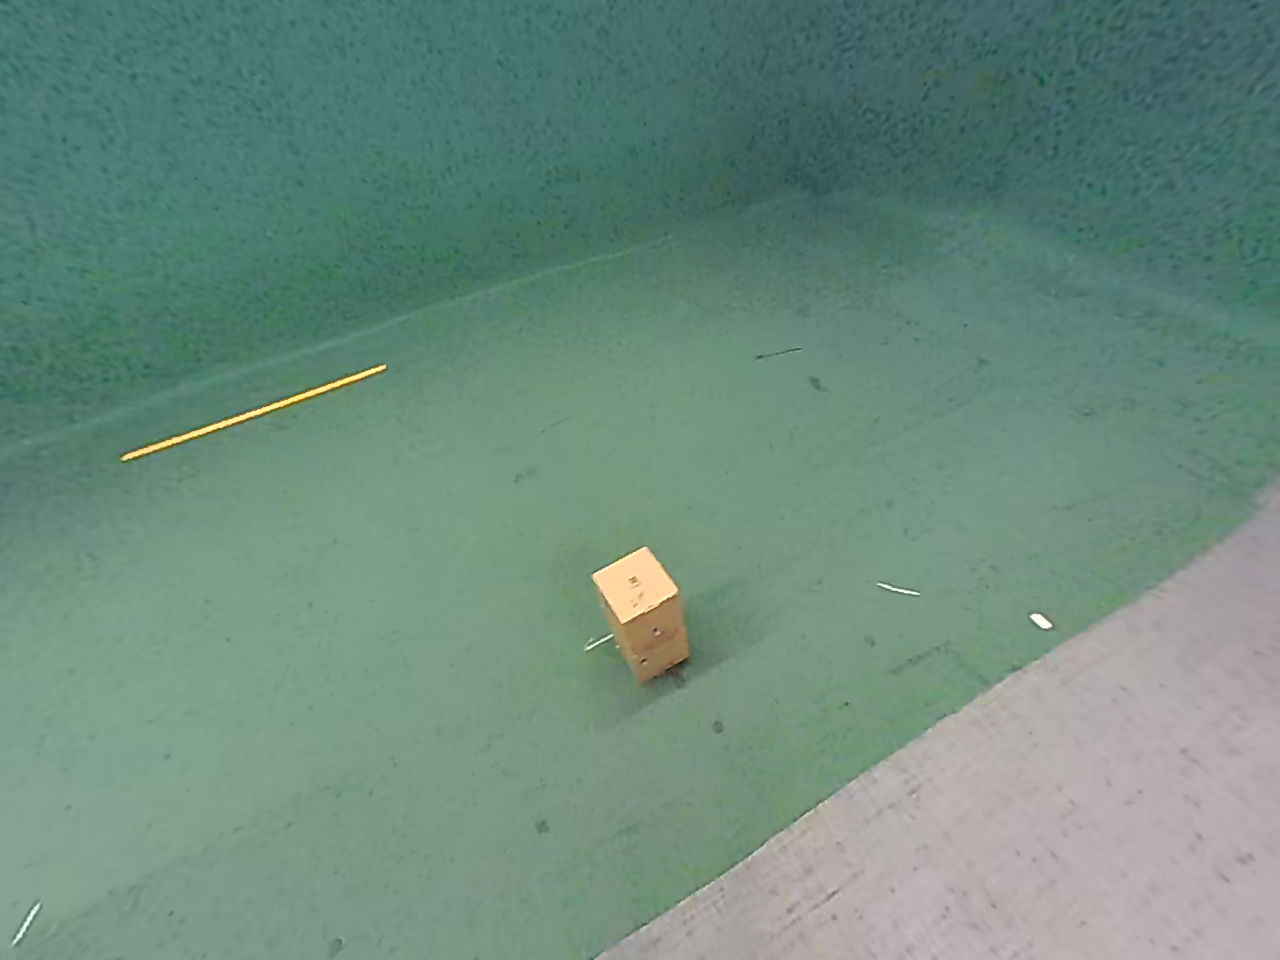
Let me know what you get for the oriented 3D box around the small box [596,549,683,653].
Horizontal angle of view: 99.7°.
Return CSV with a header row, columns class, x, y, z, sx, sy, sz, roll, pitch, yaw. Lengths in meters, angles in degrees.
class,x,y,z,sx,sy,sz,roll,pitch,yaw
small box,0.001,0.324,1.443,0.168,0.176,0.179,-26,48,-15
